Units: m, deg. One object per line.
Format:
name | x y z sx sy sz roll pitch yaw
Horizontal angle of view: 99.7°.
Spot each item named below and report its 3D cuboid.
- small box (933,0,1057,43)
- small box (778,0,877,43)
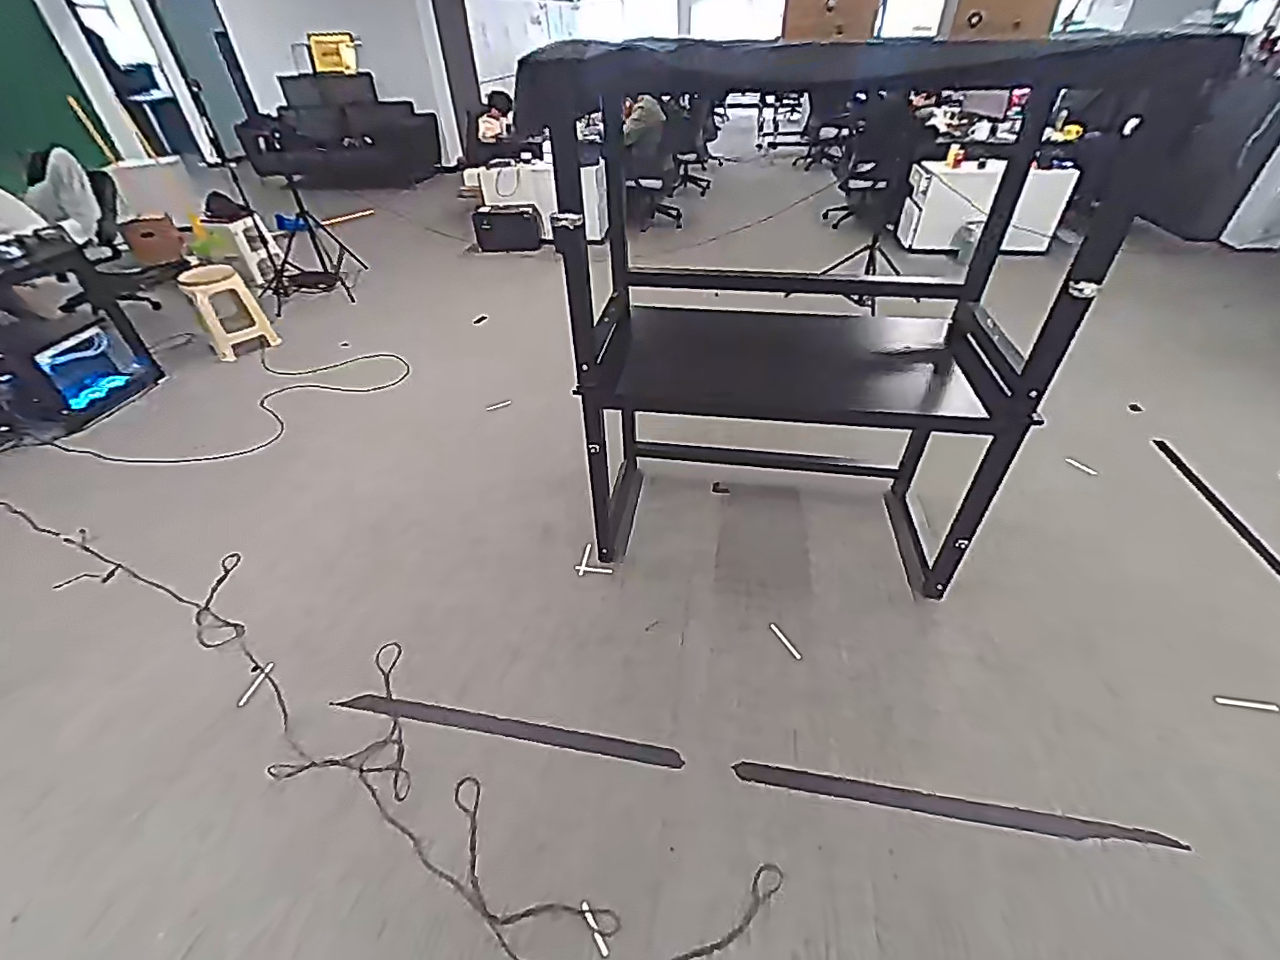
small box | 0.646 -0.897 0.966 0.168 0.176 0.179 8 39 11
small box | 0.350 -0.921 1.003 0.168 0.176 0.179 6 38 9
